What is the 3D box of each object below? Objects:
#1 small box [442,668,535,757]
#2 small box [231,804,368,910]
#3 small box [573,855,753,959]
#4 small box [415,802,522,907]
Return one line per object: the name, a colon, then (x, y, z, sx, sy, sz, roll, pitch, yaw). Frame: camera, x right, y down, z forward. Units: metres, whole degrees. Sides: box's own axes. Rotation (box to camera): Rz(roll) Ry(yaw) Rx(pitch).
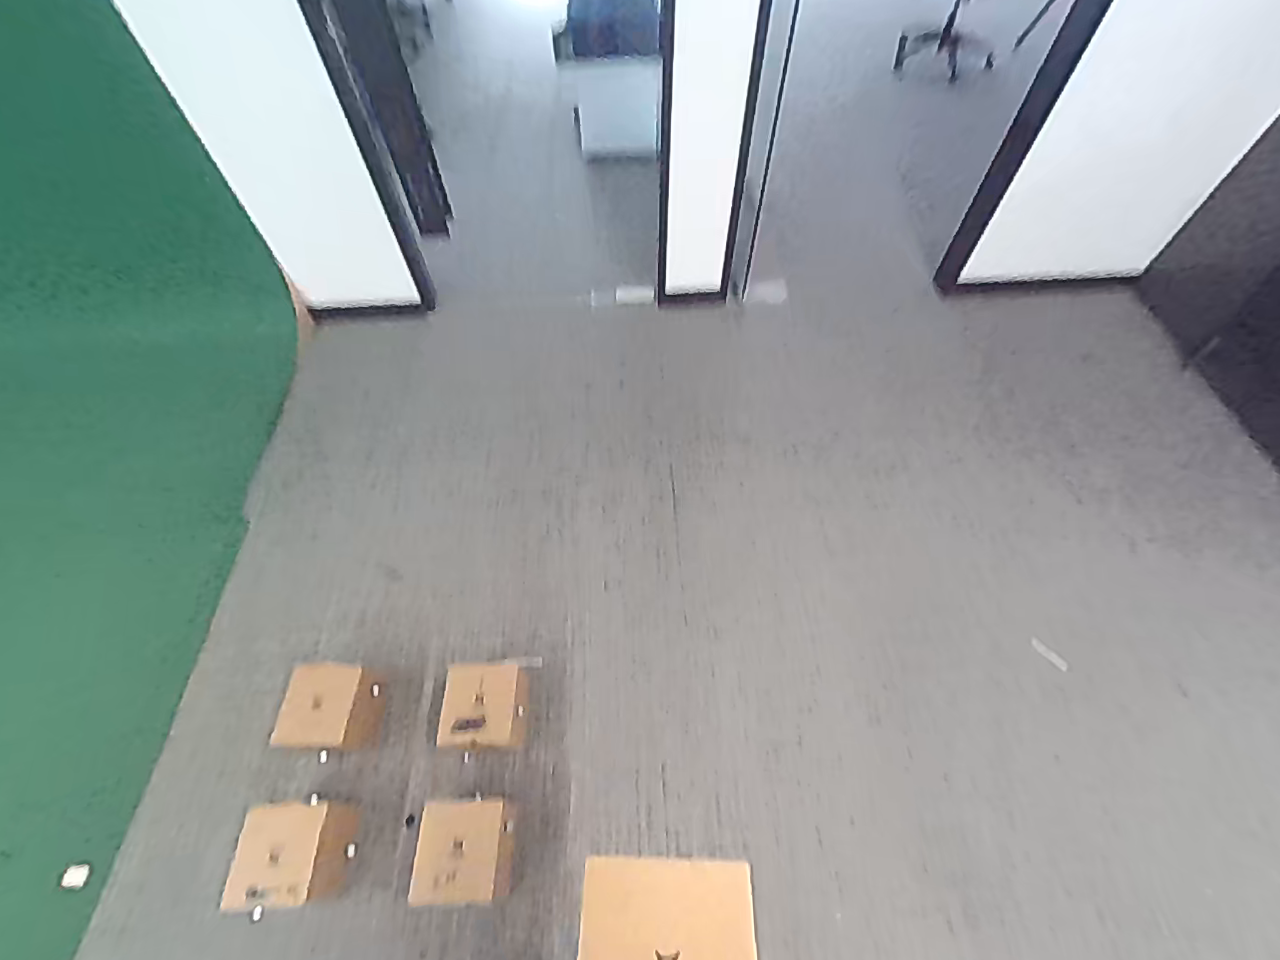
small box: (-0.358, 0.568, 1.312, 0.168, 0.176, 0.179, -1, 55, 1)
small box: (-0.713, 0.807, 1.159, 0.168, 0.176, 0.179, -3, 55, 0)
small box: (0.021, 0.494, 0.535, 0.168, 0.176, 0.179, 0, 48, 3)
small box: (-0.355, 0.798, 1.156, 0.168, 0.176, 0.179, -1, 56, 1)
